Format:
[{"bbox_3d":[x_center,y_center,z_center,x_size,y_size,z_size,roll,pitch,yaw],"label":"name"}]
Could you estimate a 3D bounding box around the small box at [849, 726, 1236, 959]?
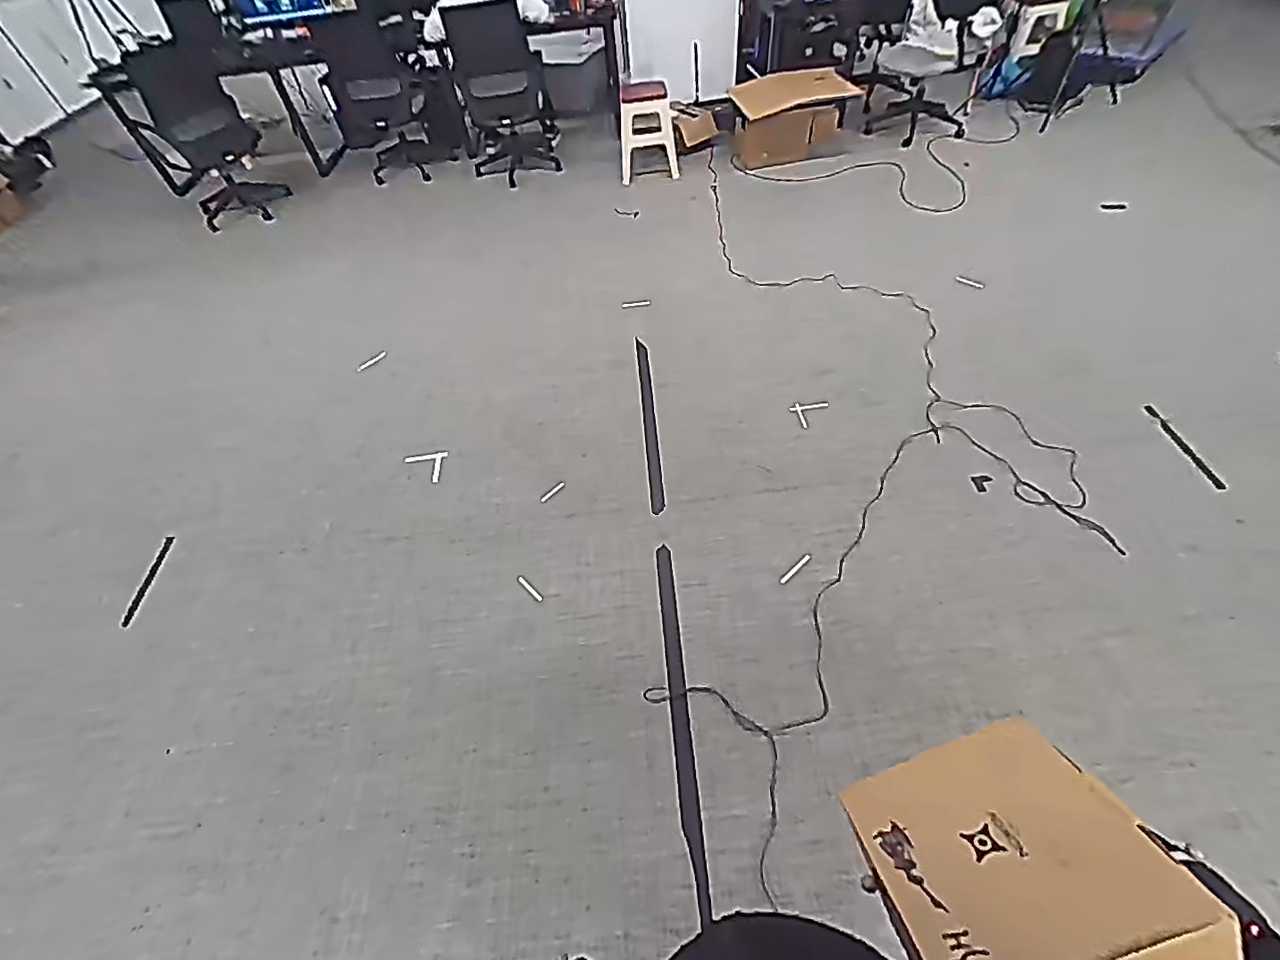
[{"bbox_3d":[0.299,0.342,0.425,0.179,0.176,0.168,-23,15,3],"label":"small box"}]
